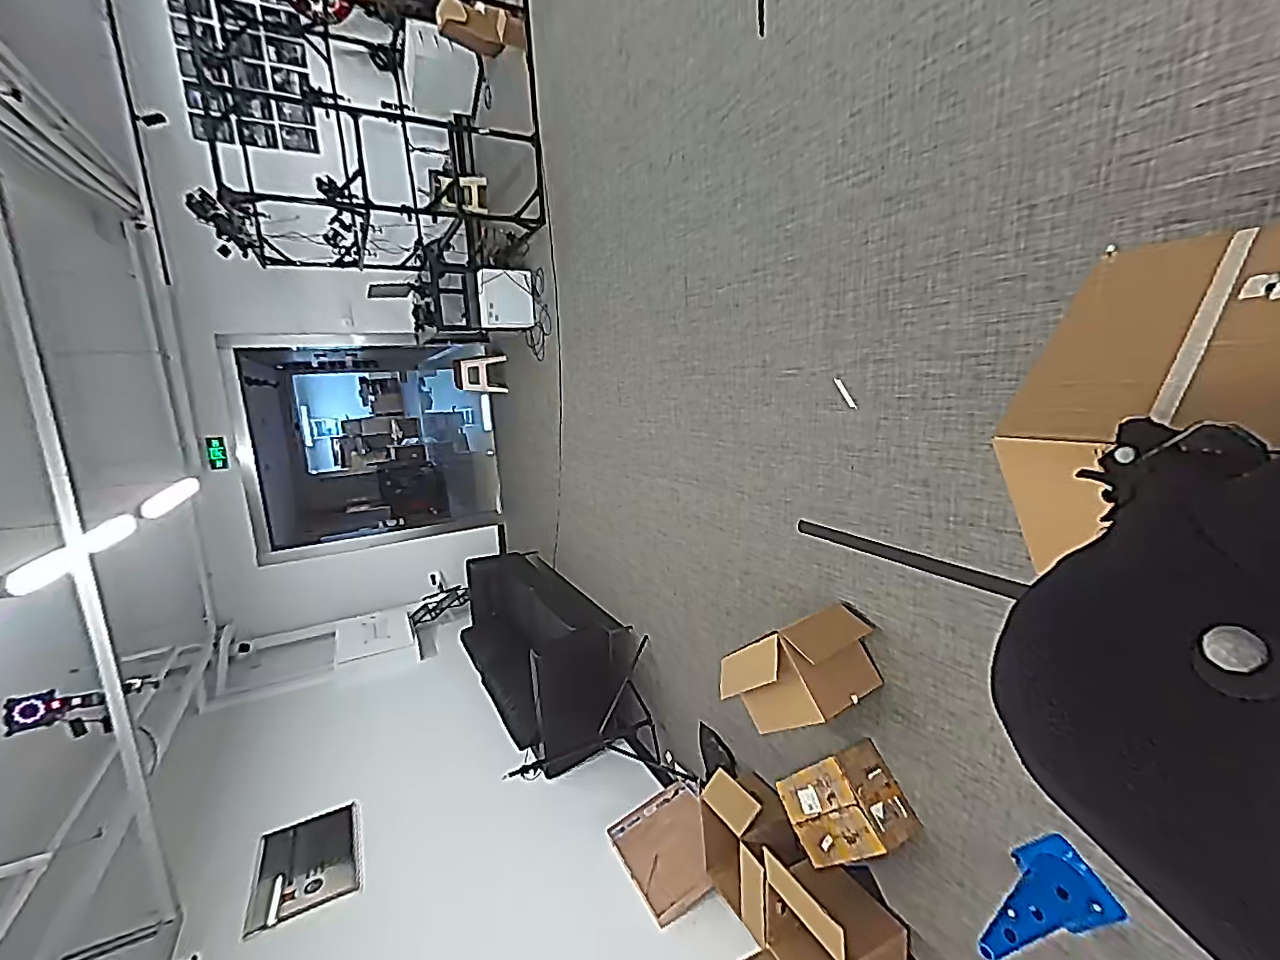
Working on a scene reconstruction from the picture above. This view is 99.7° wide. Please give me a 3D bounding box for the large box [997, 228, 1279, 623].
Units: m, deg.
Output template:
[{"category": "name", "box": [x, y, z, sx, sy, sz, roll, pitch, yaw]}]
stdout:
[{"category": "large box", "box": [0.763, -0.078, 0.726, 0.320, 0.408, 0.320, 51, 160, -29]}]
